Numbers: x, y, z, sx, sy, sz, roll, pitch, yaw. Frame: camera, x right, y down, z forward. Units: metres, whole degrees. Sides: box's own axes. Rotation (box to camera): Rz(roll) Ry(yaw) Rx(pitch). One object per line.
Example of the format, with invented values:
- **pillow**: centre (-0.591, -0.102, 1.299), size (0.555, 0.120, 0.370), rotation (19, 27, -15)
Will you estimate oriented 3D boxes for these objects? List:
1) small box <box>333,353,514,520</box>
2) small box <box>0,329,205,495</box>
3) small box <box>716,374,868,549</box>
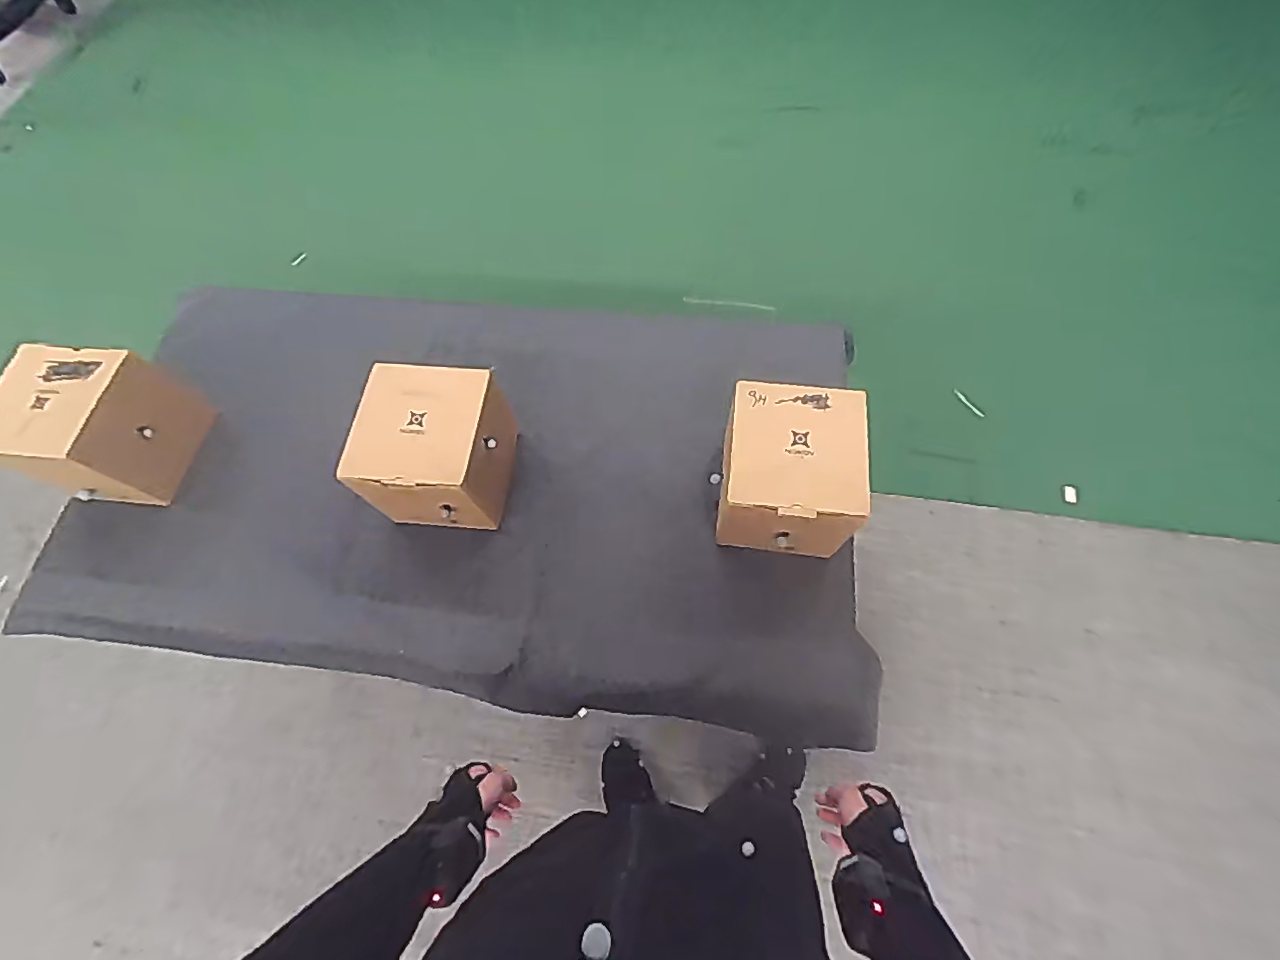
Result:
- **small box**: centre (-0.288, -0.054, 0.766), size (0.168, 0.176, 0.179), rotation (5, 65, 3)
- **small box**: centre (-0.803, -0.095, 0.800), size (0.168, 0.176, 0.179), rotation (5, 66, 4)
- **small box**: centre (0.196, -0.016, 0.726), size (0.168, 0.176, 0.179), rotation (7, 67, 6)
